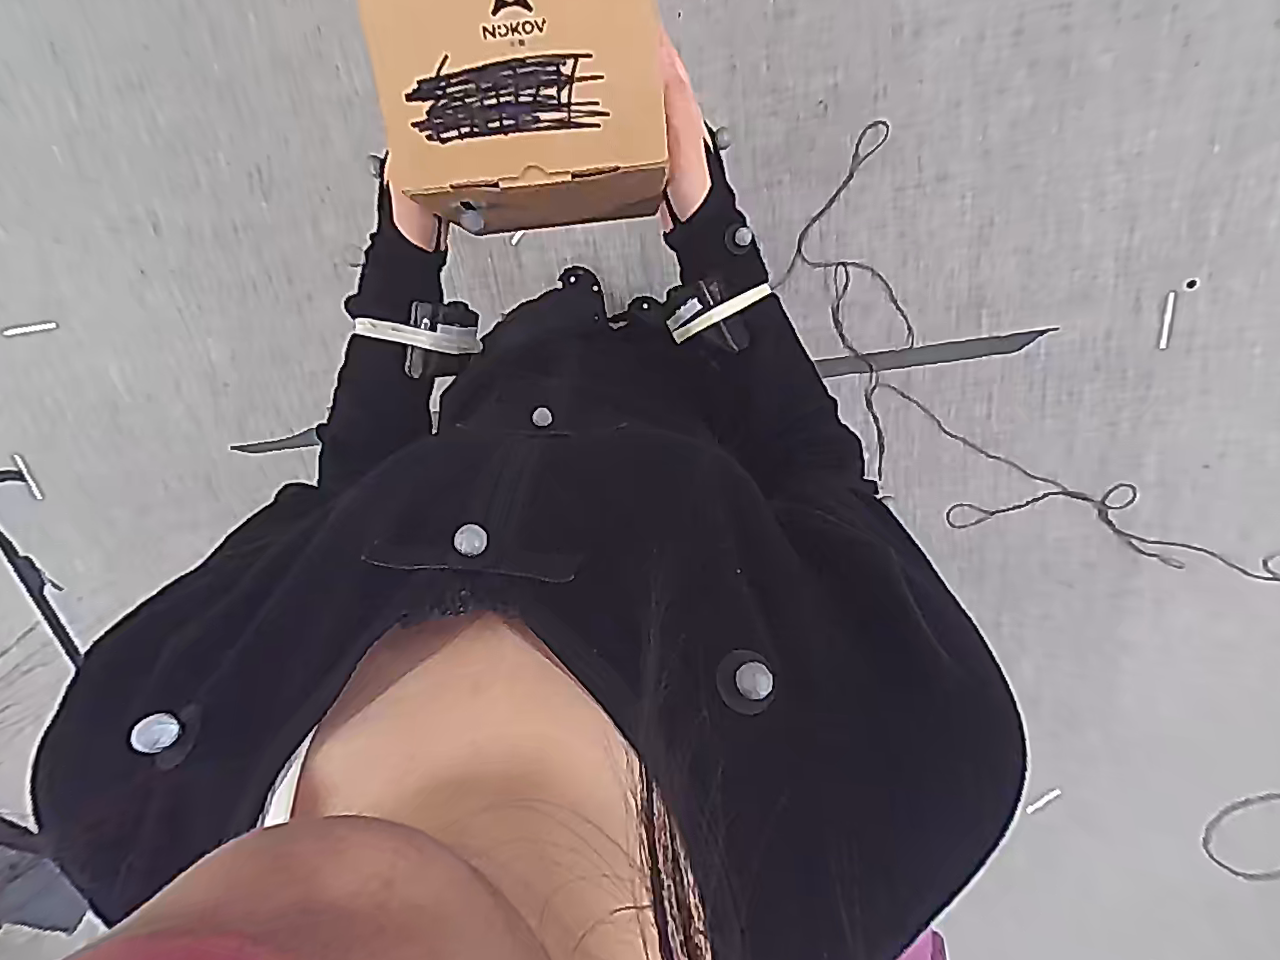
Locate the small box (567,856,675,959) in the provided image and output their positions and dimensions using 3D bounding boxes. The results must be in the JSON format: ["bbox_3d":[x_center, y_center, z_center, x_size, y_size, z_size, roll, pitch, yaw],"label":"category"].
[{"bbox_3d":[-0.026,0.805,0.951,0.168,0.176,0.179,-6,110,2],"label":"small box"}]
